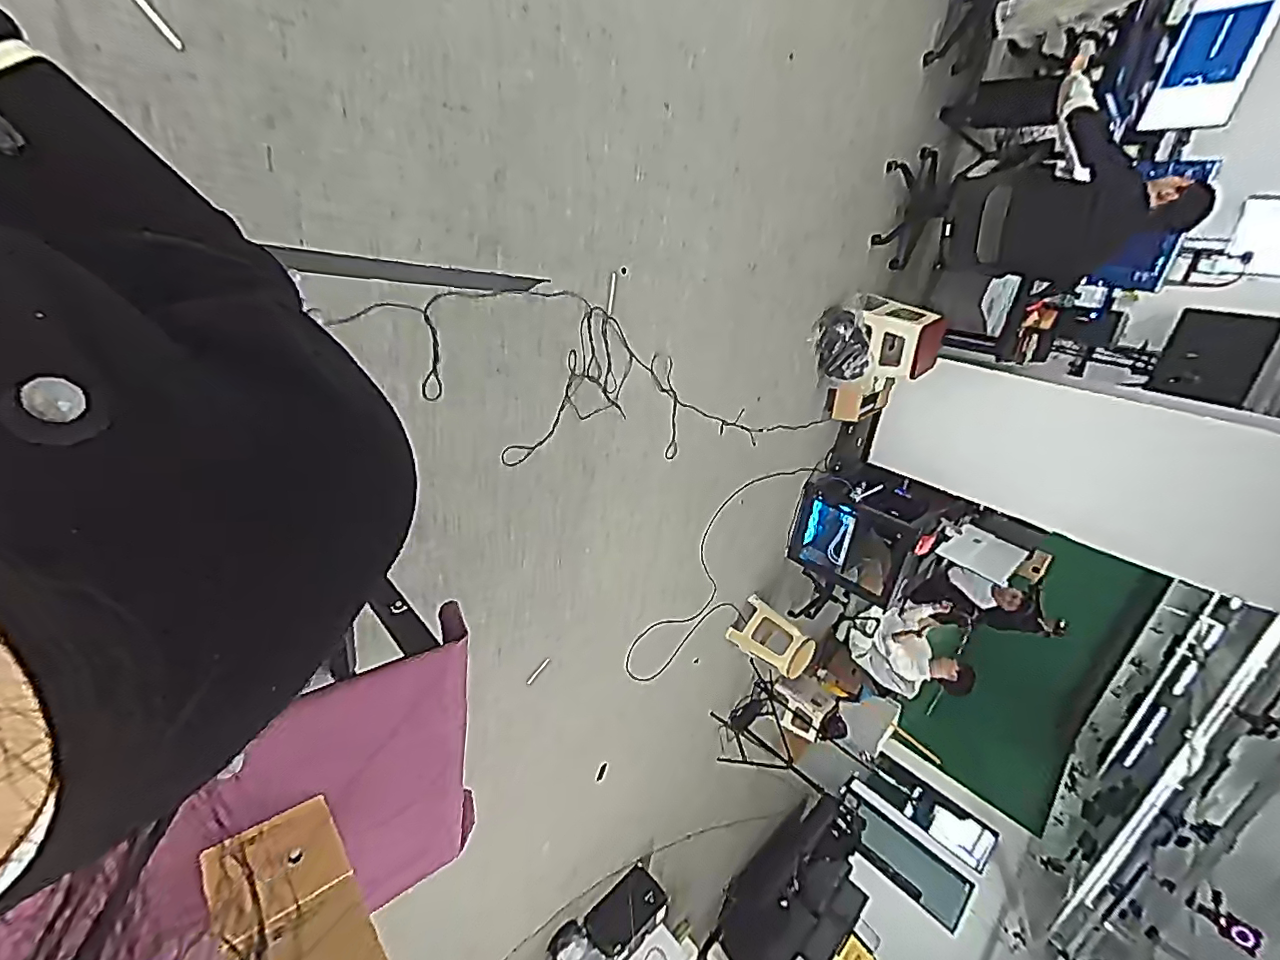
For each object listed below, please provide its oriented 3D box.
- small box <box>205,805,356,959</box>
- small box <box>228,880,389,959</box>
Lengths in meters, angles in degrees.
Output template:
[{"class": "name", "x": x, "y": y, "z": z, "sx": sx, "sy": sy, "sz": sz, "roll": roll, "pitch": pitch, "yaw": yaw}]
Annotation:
[{"class": "small box", "x": -0.568, "y": 0.660, "z": 0.860, "sx": 0.168, "sy": 0.176, "sz": 0.179, "roll": -12, "pitch": 121, "yaw": -44}, {"class": "small box", "x": -0.456, "y": 0.726, "z": 0.760, "sx": 0.168, "sy": 0.176, "sz": 0.179, "roll": -13, "pitch": 122, "yaw": -44}]
